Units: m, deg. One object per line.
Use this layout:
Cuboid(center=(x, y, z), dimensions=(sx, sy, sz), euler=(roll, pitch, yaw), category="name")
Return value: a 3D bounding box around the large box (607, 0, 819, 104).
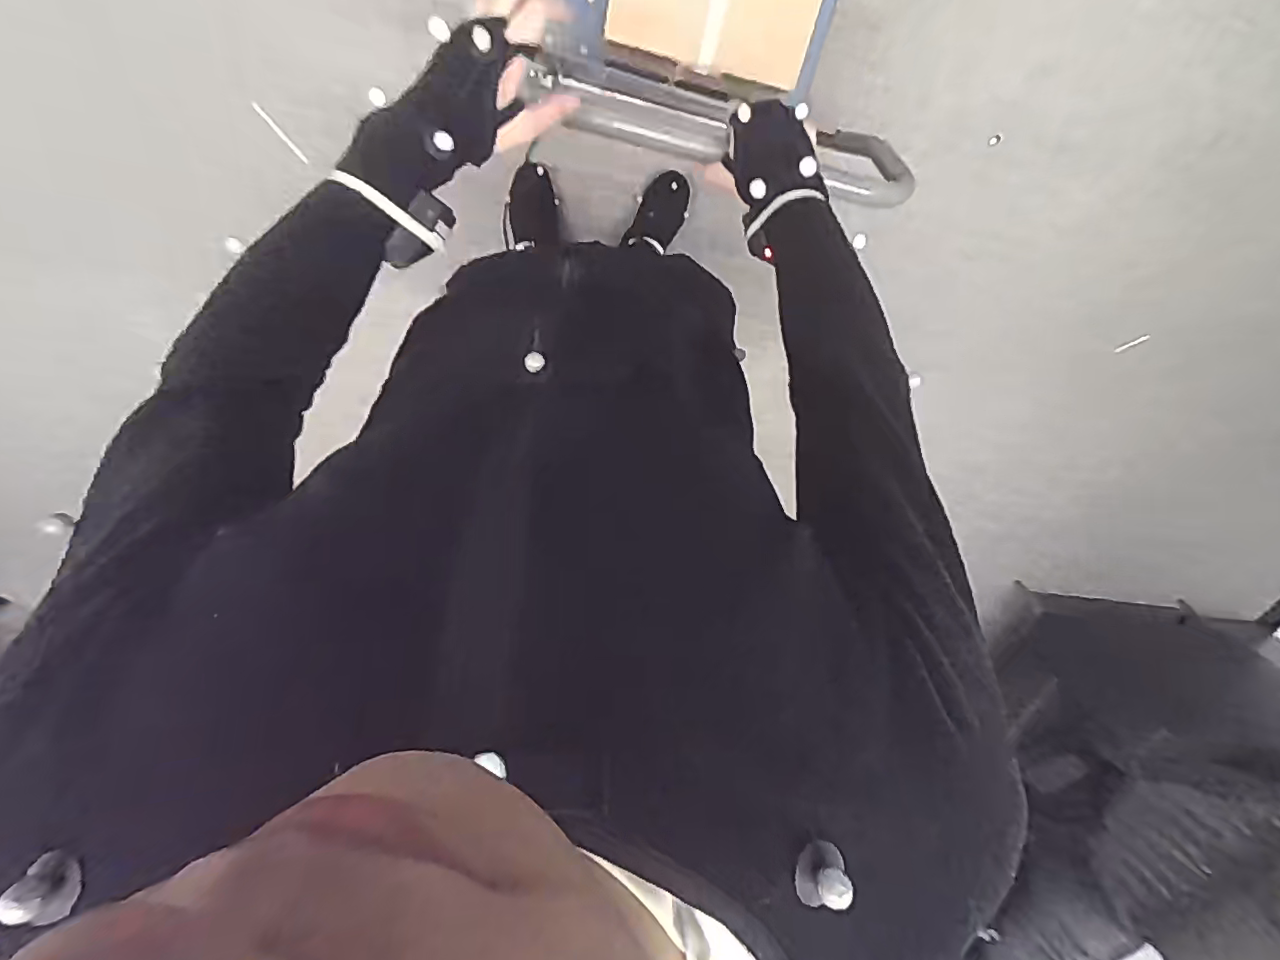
Cuboid(center=(0.128, -0.890, 0.881), dimensions=(0.320, 0.320, 0.408), euler=(8, 121, -10), category="large box")
